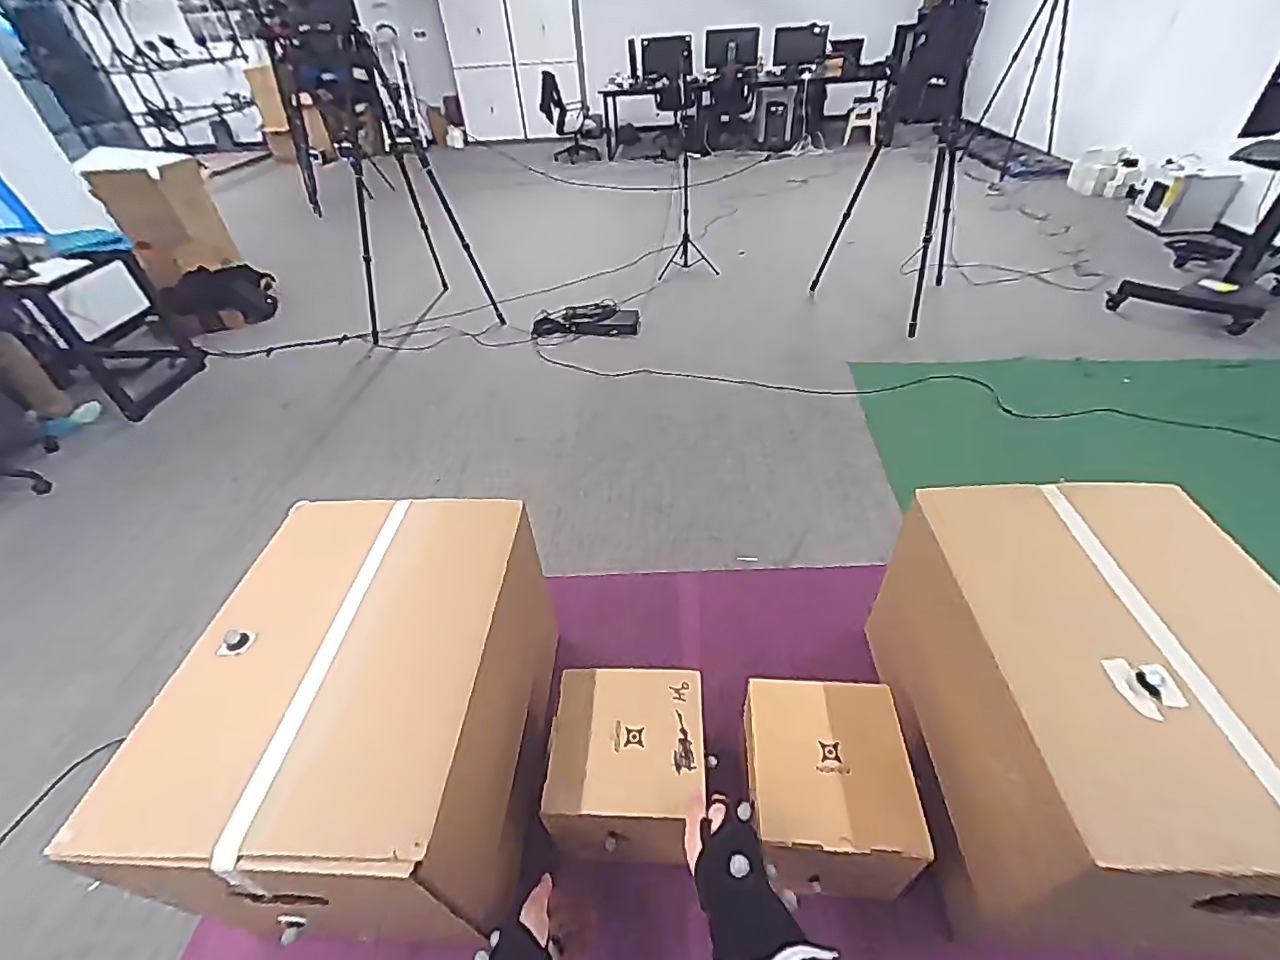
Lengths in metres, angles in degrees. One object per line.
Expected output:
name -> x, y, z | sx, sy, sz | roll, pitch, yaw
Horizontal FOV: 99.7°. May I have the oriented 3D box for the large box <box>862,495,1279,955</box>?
large box -> 0.500, 0.264, 0.634 | 0.320, 0.320, 0.408 | 0, 42, 4
